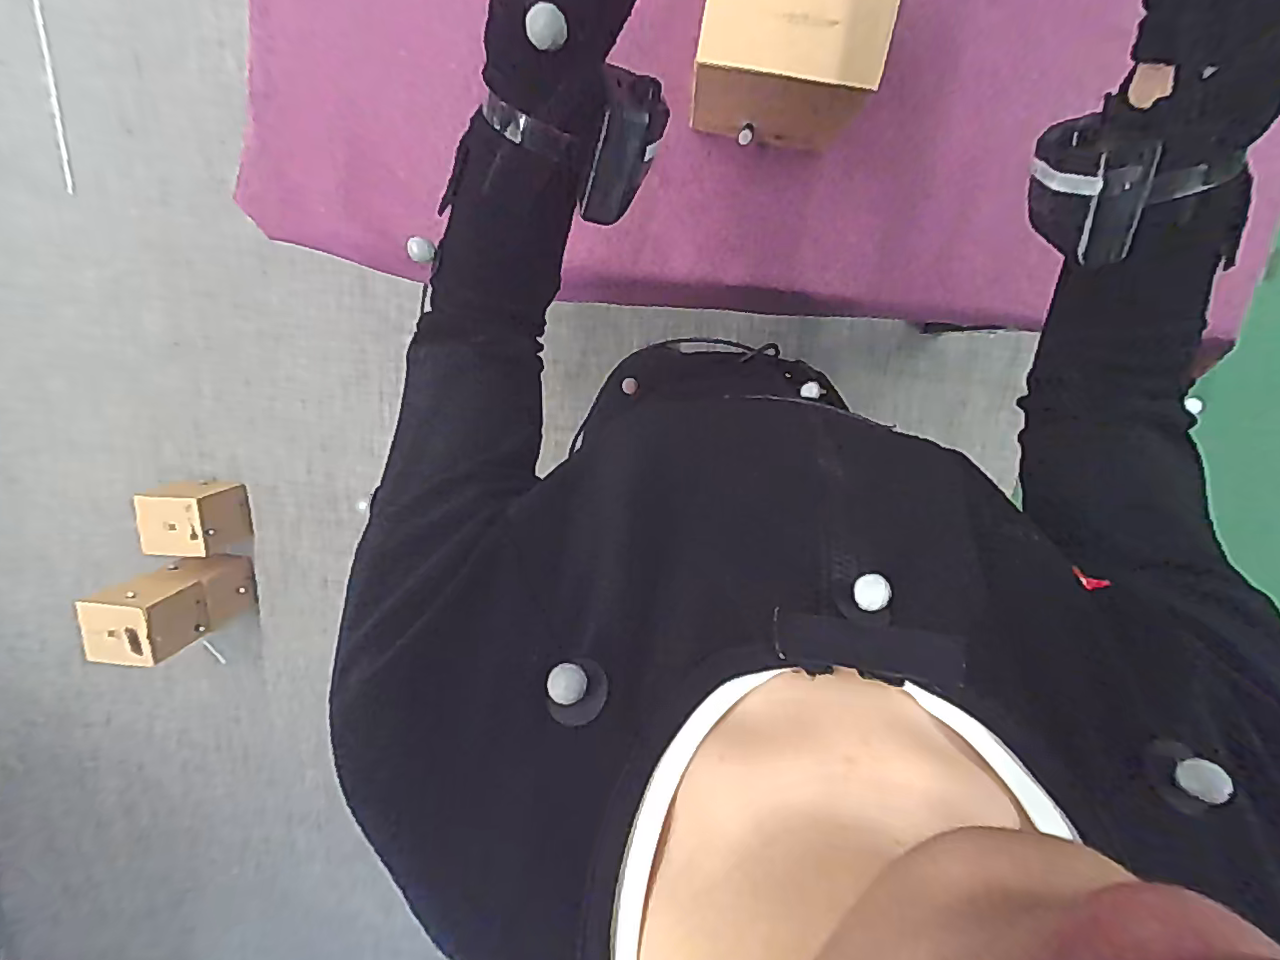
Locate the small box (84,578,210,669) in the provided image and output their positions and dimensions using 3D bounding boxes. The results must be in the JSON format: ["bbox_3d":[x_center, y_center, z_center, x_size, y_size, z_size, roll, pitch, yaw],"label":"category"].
[{"bbox_3d":[-1.261,0.365,1.403,0.179,0.176,0.168,5,104,3],"label":"small box"}]

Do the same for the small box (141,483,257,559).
[{"bbox_3d":[-1.219,0.109,1.505,0.179,0.176,0.168,3,105,3],"label":"small box"}]

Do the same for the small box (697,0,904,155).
[{"bbox_3d":[0.152,-0.456,0.533,0.168,0.176,0.179,11,105,2],"label":"small box"}]
